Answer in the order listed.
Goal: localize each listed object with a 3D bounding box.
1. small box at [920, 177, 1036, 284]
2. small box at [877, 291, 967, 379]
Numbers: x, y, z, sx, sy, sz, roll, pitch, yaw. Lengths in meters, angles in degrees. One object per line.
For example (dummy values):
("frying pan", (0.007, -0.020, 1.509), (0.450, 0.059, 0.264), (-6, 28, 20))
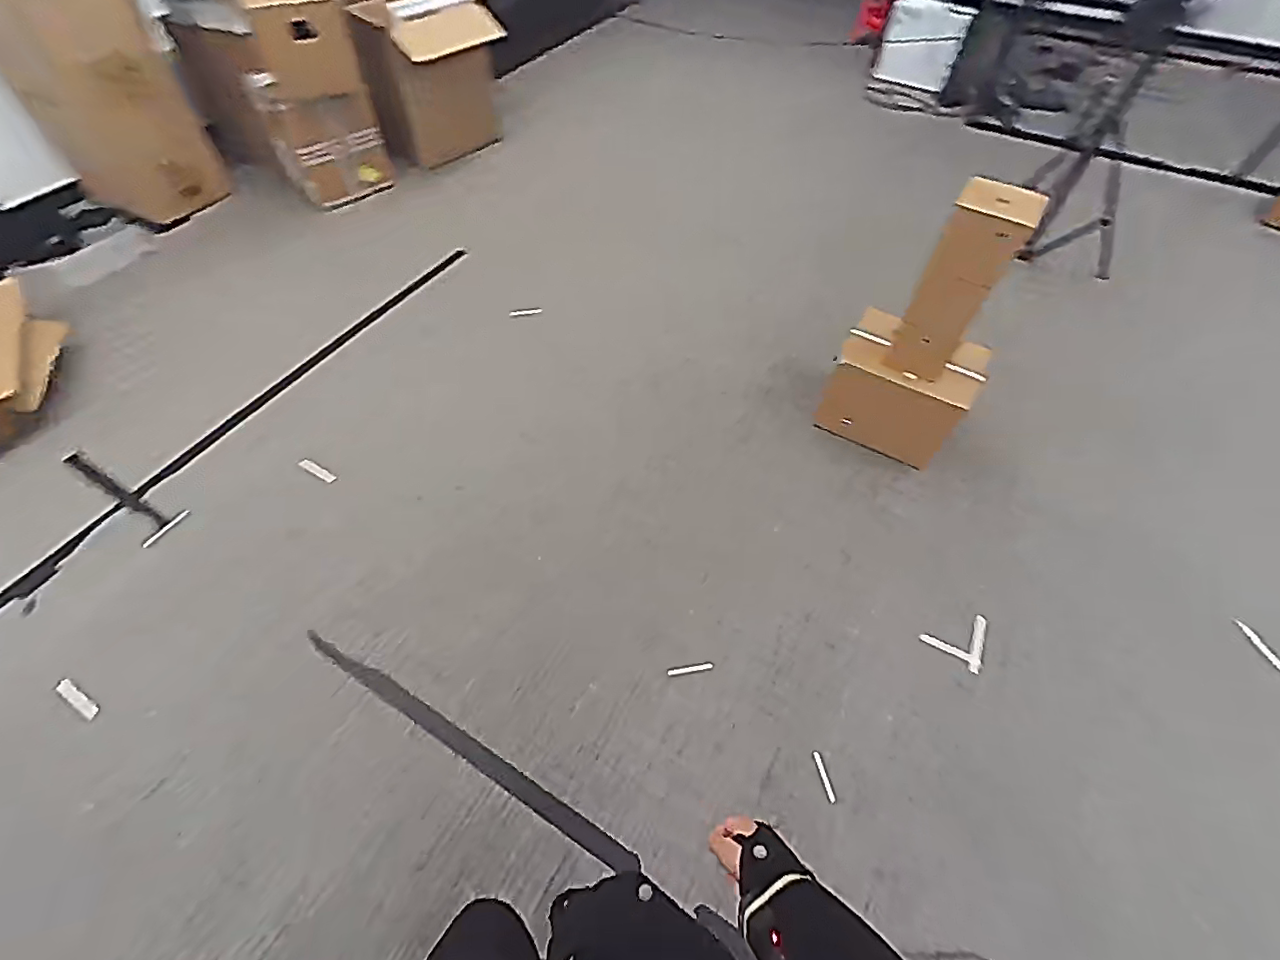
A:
("small box", (0.847, -0.623, 1.365), (0.179, 0.176, 0.168), (28, 60, 18))
("small box", (0.846, -0.433, 1.634), (0.179, 0.176, 0.168), (25, 60, 15))
